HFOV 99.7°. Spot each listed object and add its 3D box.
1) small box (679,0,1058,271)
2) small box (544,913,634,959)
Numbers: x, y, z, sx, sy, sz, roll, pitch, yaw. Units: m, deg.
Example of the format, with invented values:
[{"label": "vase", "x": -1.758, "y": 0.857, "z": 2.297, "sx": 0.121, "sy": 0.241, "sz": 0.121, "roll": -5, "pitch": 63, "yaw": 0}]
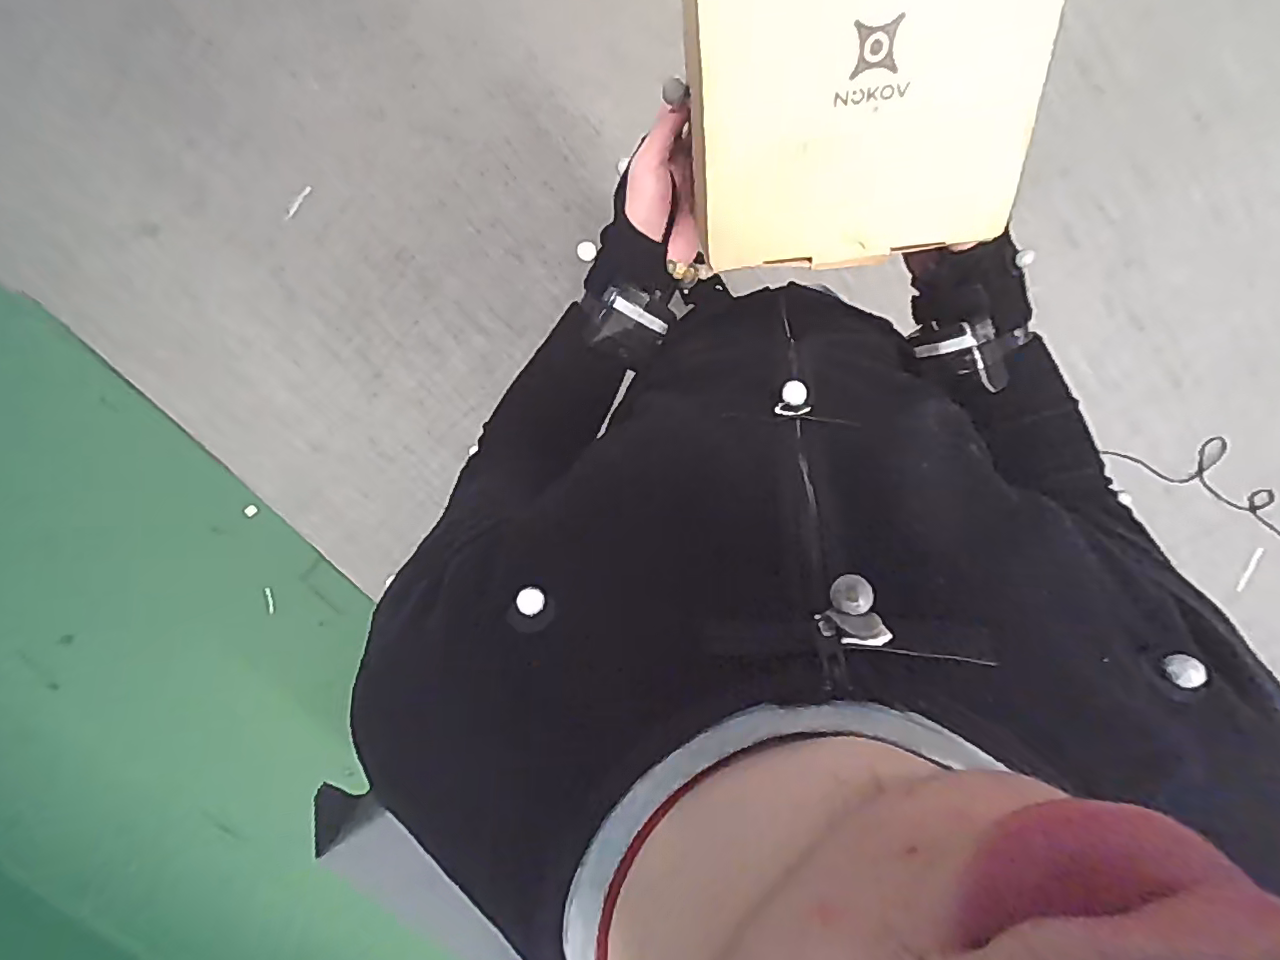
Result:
[{"label": "small box", "x": 0.112, "y": -0.248, "z": 0.327, "sx": 0.168, "sy": 0.176, "sz": 0.179, "roll": -5, "pitch": 128, "yaw": 5}, {"label": "small box", "x": -0.129, "y": 1.182, "z": 1.290, "sx": 0.179, "sy": 0.176, "sz": 0.168, "roll": -40, "pitch": 101, "yaw": 22}]
